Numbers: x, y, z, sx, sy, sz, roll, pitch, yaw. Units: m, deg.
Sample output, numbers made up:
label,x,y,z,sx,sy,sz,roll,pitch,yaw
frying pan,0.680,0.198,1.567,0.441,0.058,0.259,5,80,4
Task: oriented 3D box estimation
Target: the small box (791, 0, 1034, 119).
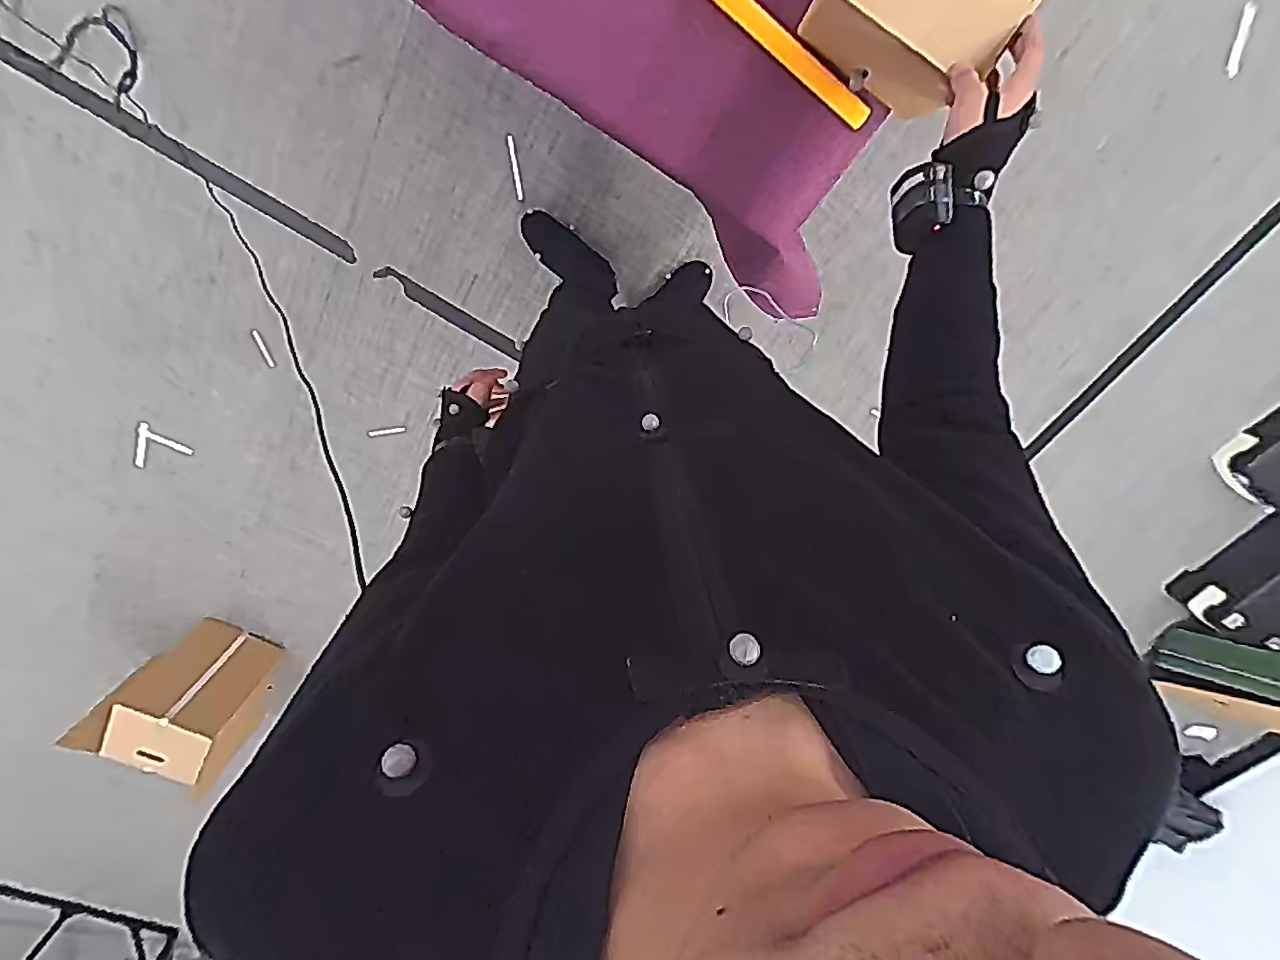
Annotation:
label,x,y,z,sx,sy,sz,roll,pitch,yaw
small box,0.287,-0.511,0.564,0.179,0.176,0.168,28,115,-11
